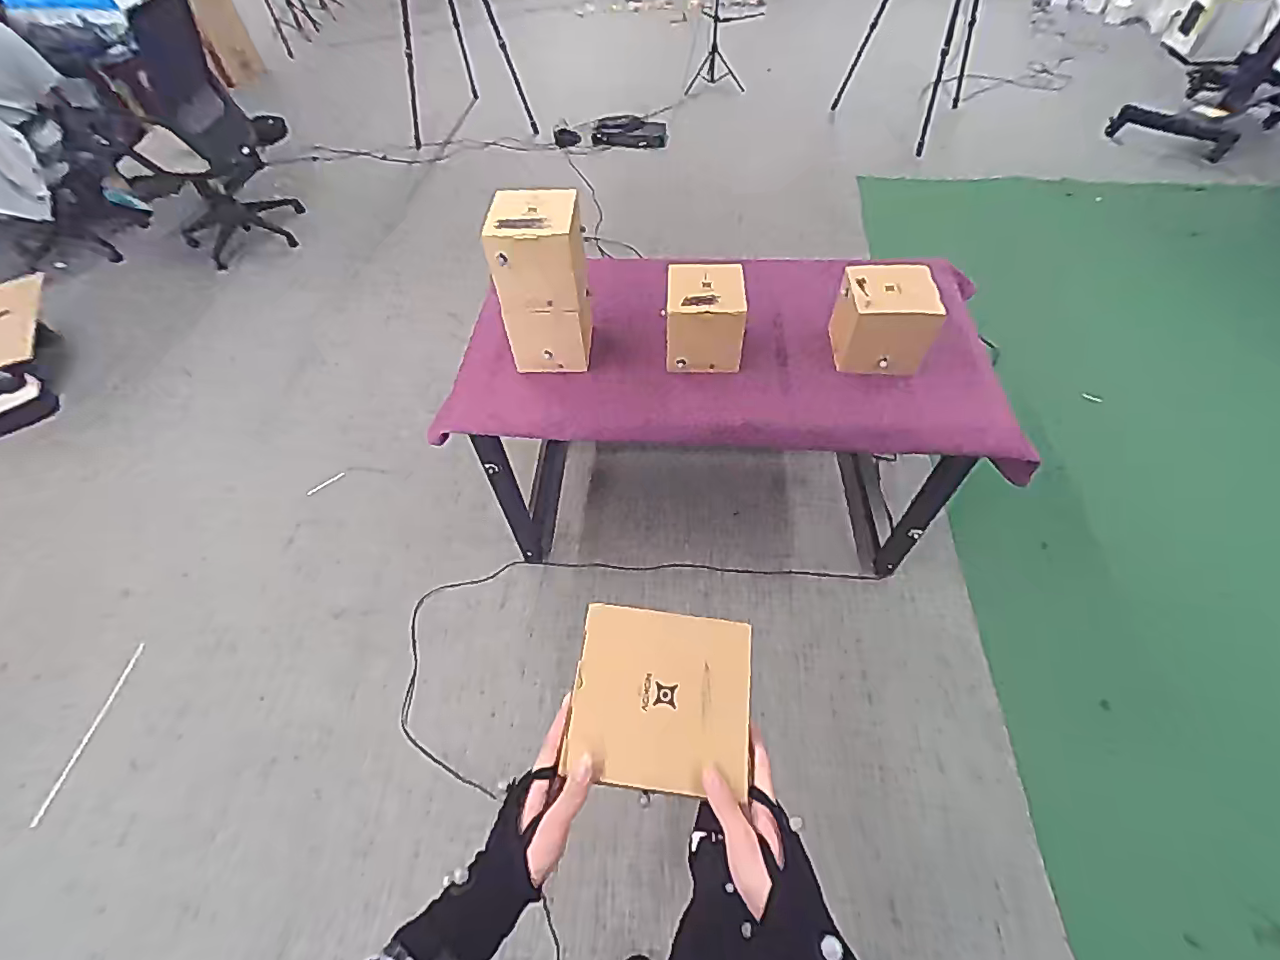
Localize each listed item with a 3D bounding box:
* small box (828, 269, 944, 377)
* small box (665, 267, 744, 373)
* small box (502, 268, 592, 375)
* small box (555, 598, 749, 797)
[{"bbox_3d":[0.532,-0.344,1.198,0.179,0.176,0.168,2,54,4],"label":"small box"},{"bbox_3d":[0.142,-0.357,1.225,0.168,0.176,0.179,1,54,3],"label":"small box"},{"bbox_3d":[-0.204,-0.363,1.242,0.168,0.176,0.179,0,54,3],"label":"small box"},{"bbox_3d":[0.017,0.247,0.601,0.179,0.176,0.168,7,60,3],"label":"small box"}]
